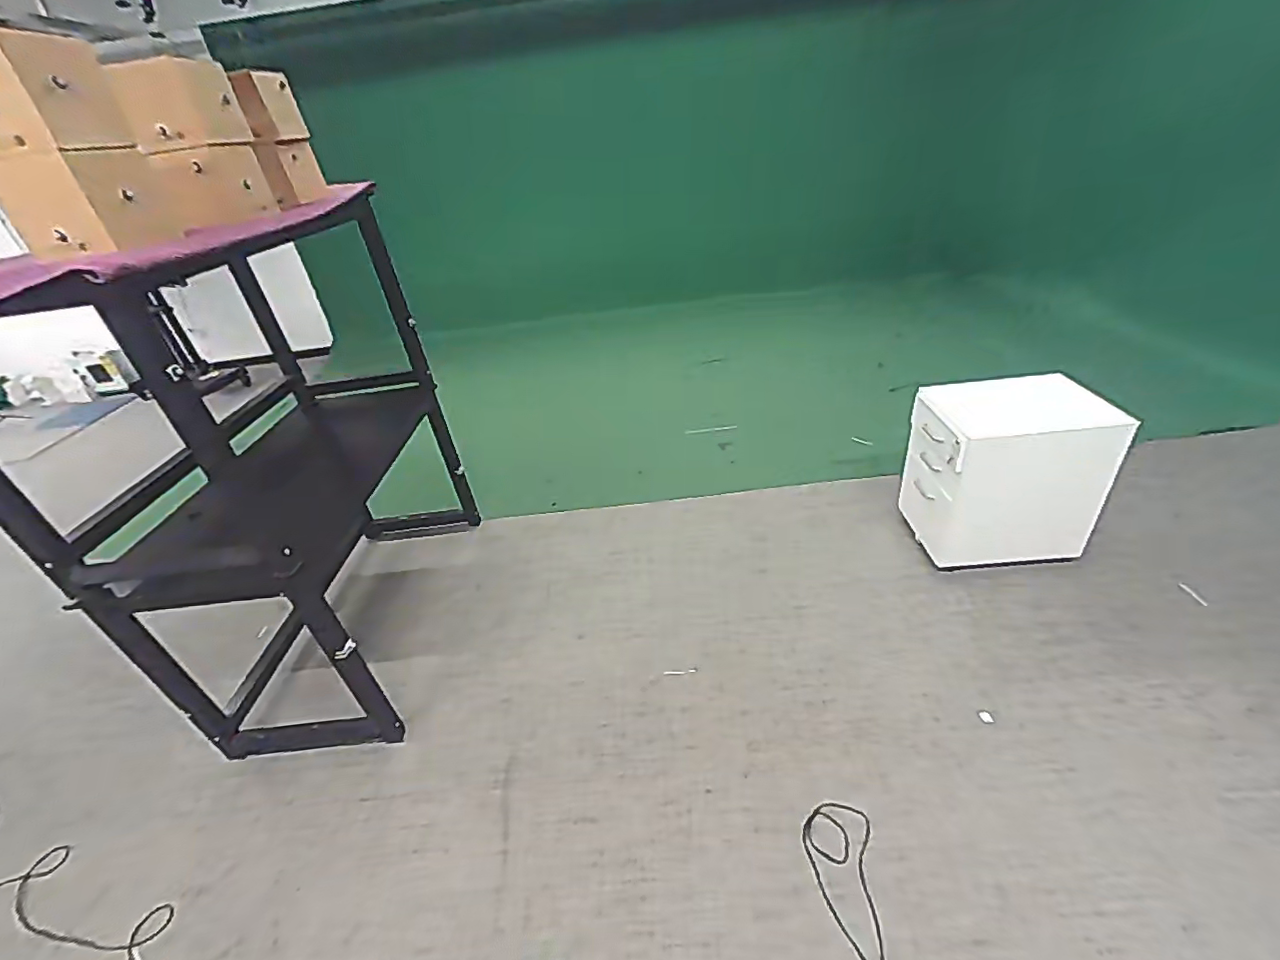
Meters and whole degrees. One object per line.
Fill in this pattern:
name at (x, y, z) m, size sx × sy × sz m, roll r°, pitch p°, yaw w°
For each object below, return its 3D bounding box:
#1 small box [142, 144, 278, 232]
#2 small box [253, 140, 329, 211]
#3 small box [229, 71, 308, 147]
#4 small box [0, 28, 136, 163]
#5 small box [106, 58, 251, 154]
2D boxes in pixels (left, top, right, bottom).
small box at (-1.068, -0.737, 1.365) m, size 0.179 × 0.176 × 0.168 m, roll -5°, pitch 32°, yaw 5°
small box at (-1.103, -0.935, 1.668) m, size 0.168 × 0.176 × 0.179 m, roll -4°, pitch 34°, yaw 8°
small box at (-1.112, -1.068, 1.574) m, size 0.168 × 0.176 × 0.179 m, roll -7°, pitch 34°, yaw 5°
small box at (-1.053, -0.658, 0.939) m, size 0.168 × 0.176 × 0.179 m, roll -5°, pitch 34°, yaw 4°
small box at (-1.075, -0.879, 1.284) m, size 0.168 × 0.176 × 0.179 m, roll -6°, pitch 34°, yaw 5°
